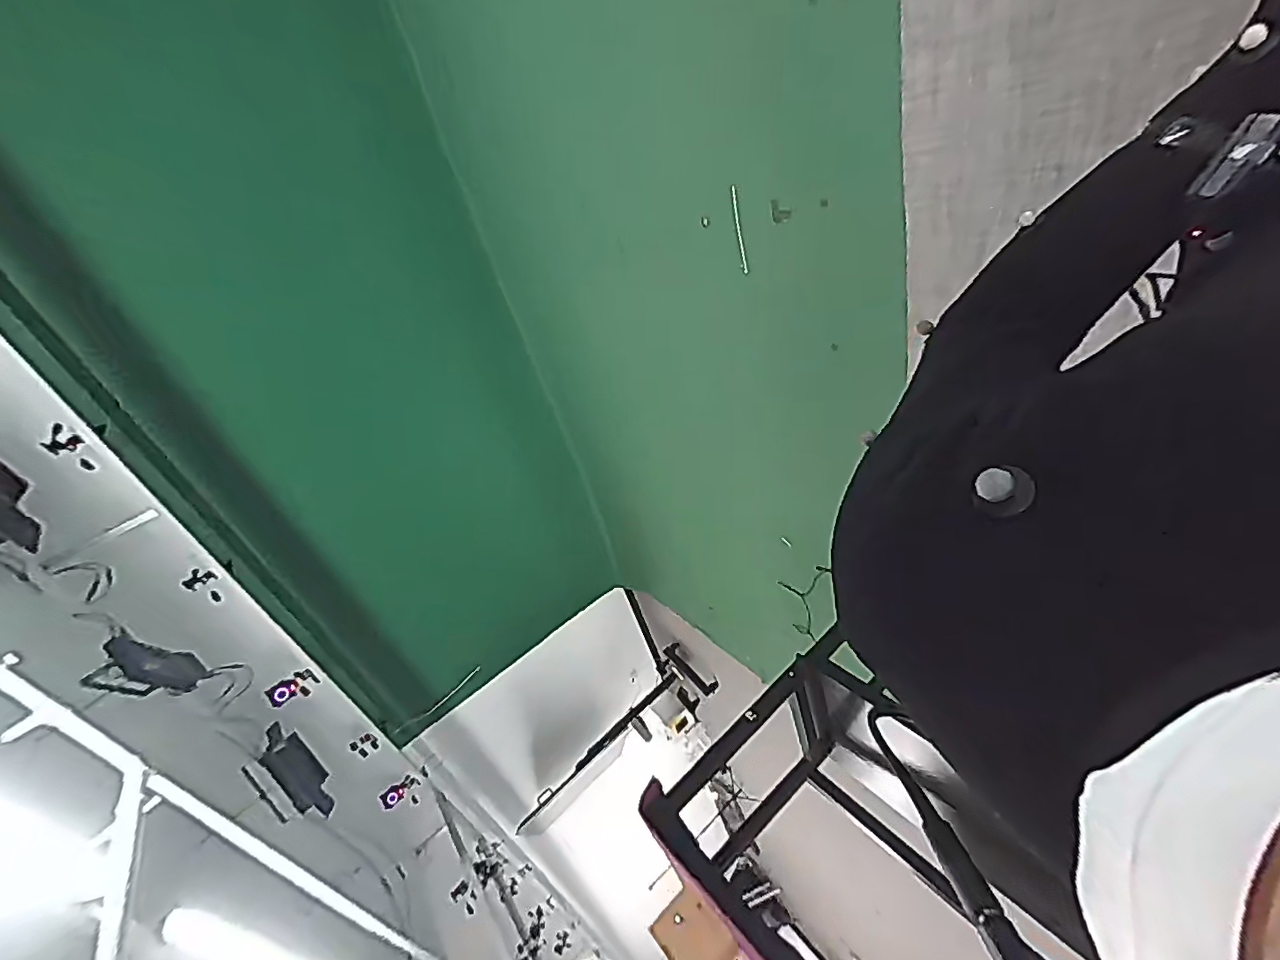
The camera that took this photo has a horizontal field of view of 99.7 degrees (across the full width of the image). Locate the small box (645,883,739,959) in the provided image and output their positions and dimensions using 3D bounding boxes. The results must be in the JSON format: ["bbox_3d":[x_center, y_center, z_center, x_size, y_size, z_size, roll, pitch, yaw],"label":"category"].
[{"bbox_3d":[0.144,1.236,1.451,0.168,0.176,0.179,30,146,46],"label":"small box"}]
